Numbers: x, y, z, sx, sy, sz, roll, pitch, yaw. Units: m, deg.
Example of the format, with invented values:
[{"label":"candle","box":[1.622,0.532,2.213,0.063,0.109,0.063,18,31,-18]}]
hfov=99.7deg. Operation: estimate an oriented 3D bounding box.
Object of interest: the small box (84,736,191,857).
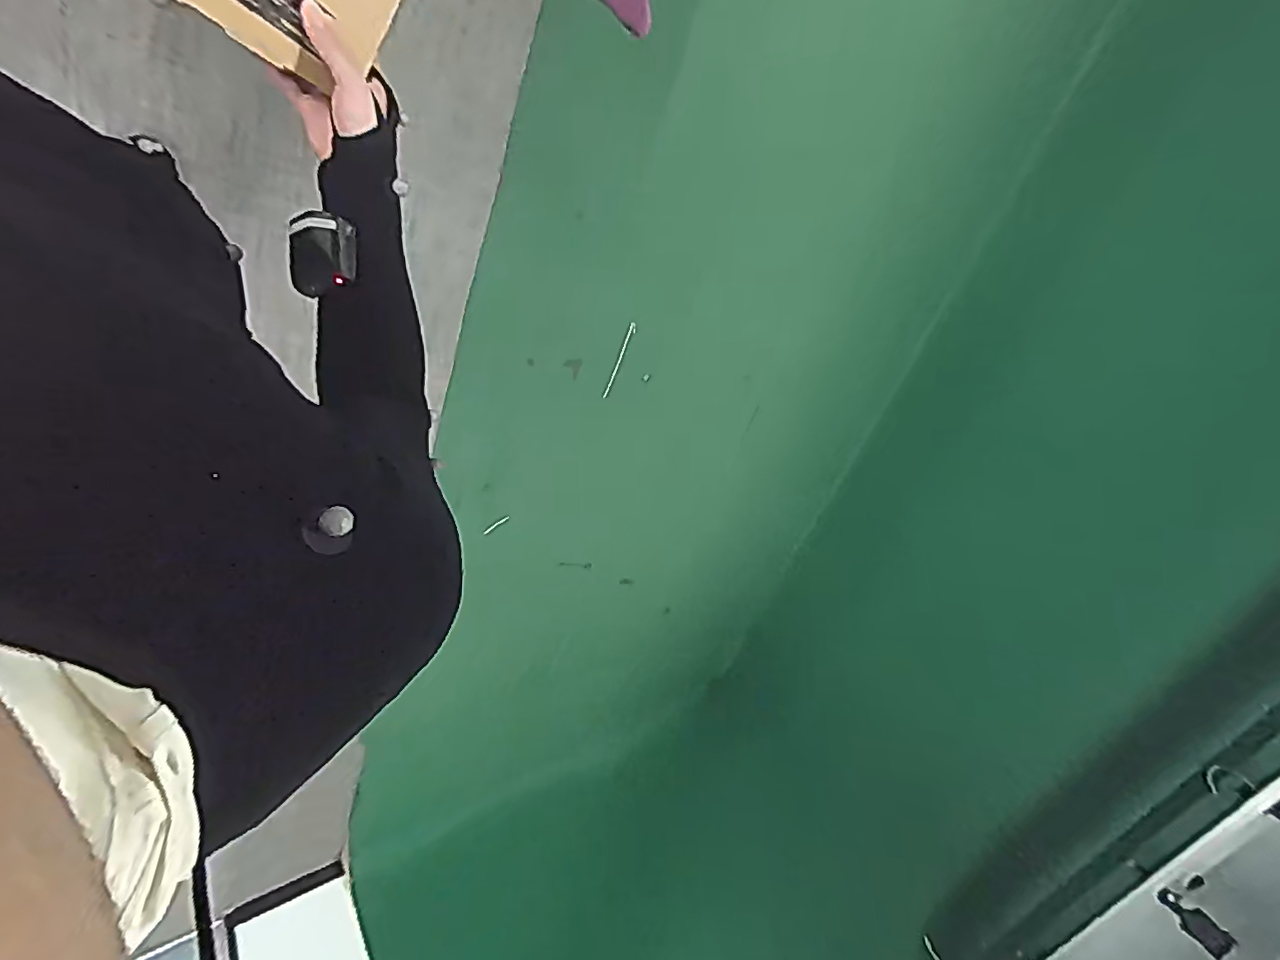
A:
[{"label":"small box","box":[-1.255,0.776,1.348,0.179,0.176,0.168,4,118,-48]}]

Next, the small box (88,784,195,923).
[{"label":"small box","box":[-1.151,0.852,1.249,0.168,0.176,0.179,4,118,-46]}]
